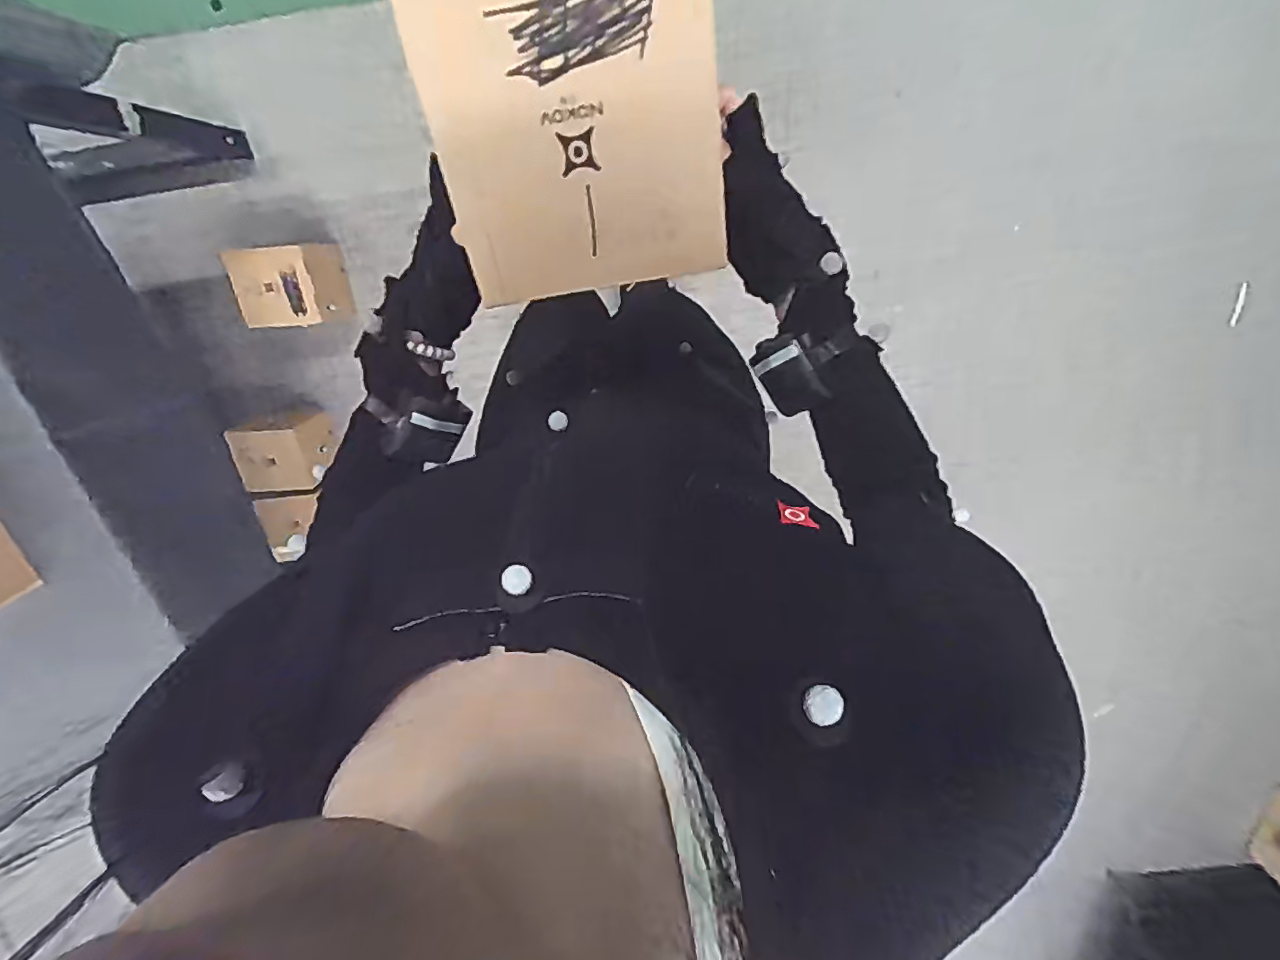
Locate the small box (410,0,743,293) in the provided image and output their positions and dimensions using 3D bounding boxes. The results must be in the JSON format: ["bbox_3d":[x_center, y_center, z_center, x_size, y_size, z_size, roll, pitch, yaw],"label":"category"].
[{"bbox_3d":[-0.032,-0.245,0.365,0.168,0.176,0.179,-9,123,2],"label":"small box"}]
